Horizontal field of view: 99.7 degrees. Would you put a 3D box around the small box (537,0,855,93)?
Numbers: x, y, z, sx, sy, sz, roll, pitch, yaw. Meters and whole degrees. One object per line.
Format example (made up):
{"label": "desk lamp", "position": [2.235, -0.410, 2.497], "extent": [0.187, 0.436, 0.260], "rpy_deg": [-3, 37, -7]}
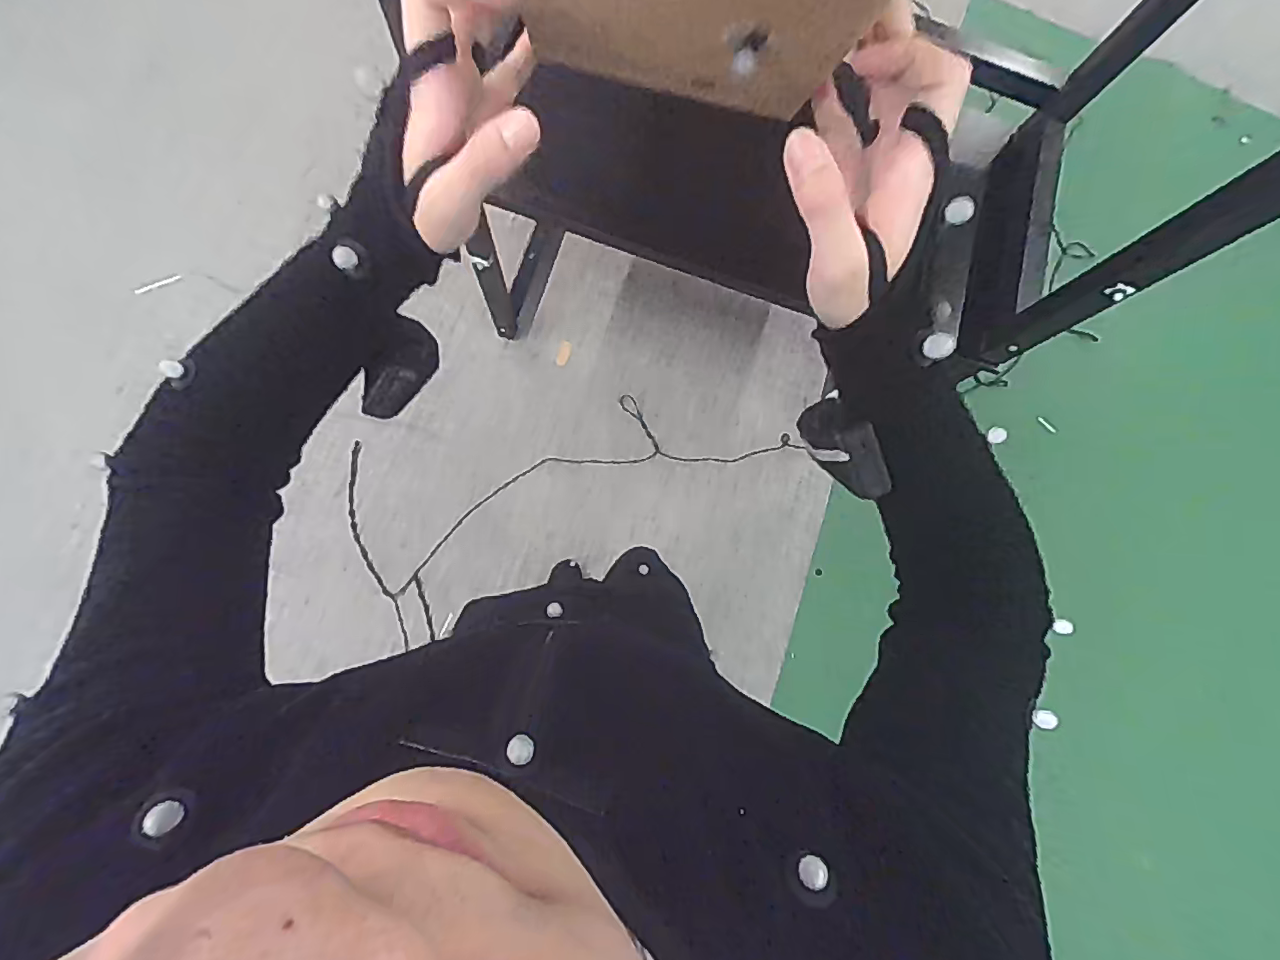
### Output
{"label": "small box", "position": [0.034, -0.305, 0.233], "extent": [0.168, 0.176, 0.179], "rpy_deg": [11, 108, -5]}
